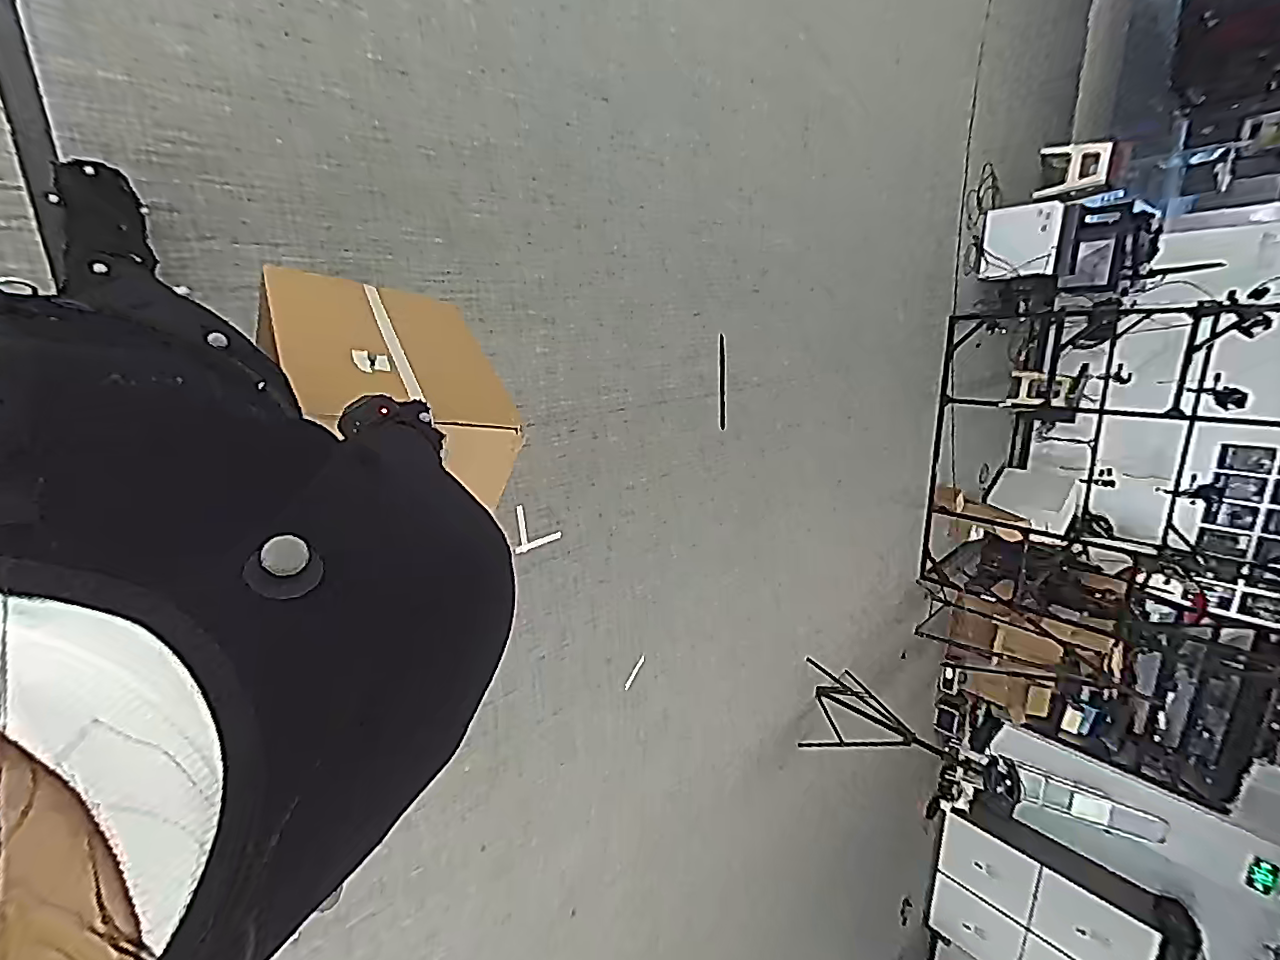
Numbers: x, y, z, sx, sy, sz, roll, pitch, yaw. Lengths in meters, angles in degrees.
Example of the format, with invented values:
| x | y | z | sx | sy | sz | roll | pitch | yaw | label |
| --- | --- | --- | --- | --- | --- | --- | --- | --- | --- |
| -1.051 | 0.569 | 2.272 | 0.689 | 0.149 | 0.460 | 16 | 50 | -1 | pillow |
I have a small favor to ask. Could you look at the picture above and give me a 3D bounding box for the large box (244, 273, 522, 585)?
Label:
| x | y | z | sx | sy | sz | roll | pitch | yaw | label |
| --- | --- | --- | --- | --- | --- | --- | --- | --- | --- |
| -0.461 | -0.086 | 0.923 | 0.320 | 0.408 | 0.320 | 0 | 132 | -40 | large box |
